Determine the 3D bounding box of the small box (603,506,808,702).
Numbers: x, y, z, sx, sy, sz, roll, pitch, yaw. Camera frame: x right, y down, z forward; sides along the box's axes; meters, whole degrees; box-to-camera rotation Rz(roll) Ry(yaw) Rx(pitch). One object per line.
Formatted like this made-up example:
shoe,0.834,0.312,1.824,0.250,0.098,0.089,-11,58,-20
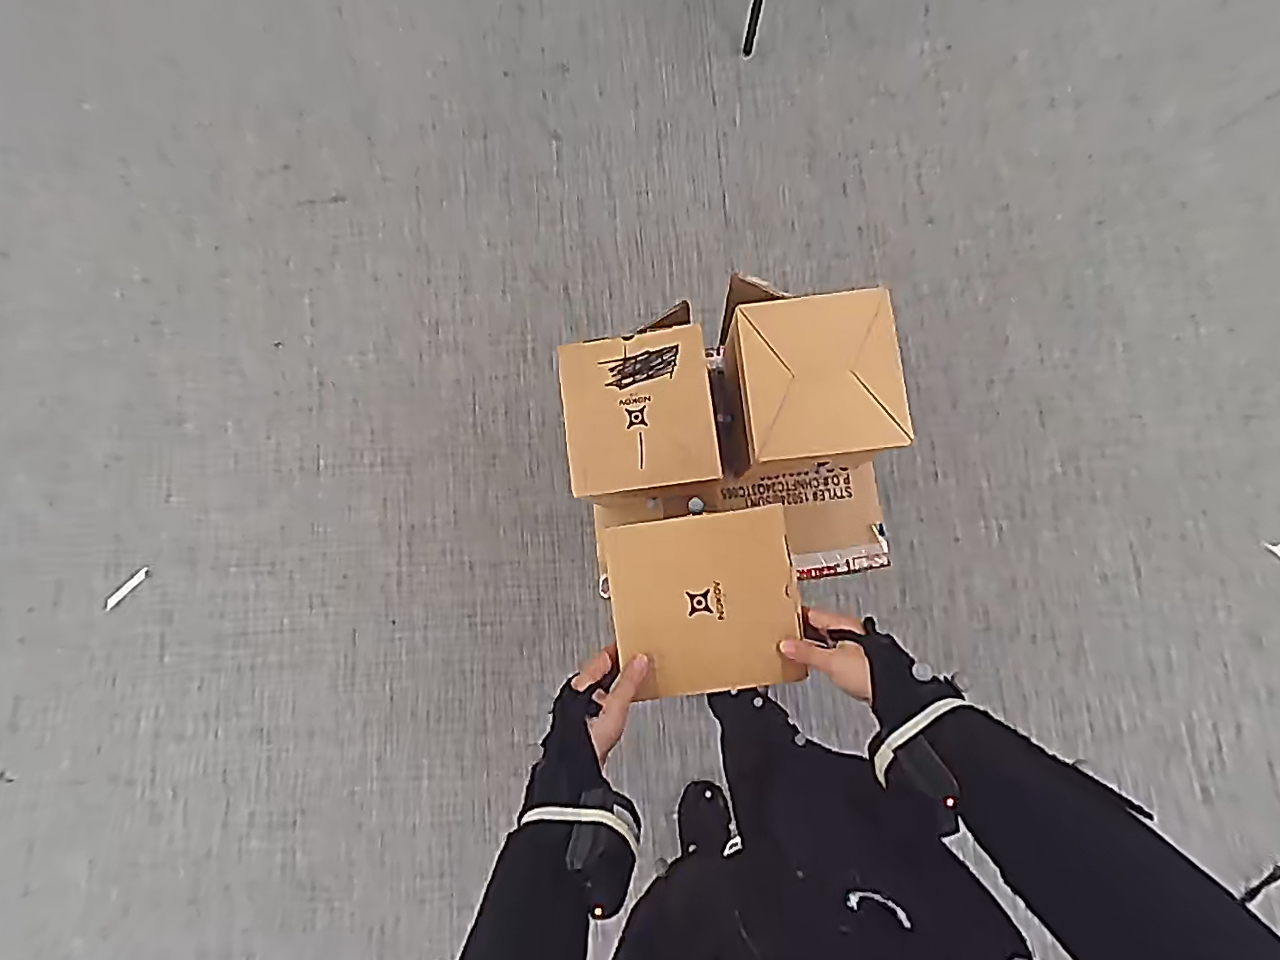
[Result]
small box,0.063,0.124,0.587,0.179,0.176,0.168,-8,85,1

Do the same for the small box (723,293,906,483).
small box,0.199,-0.100,0.656,0.168,0.176,0.179,-6,83,2
